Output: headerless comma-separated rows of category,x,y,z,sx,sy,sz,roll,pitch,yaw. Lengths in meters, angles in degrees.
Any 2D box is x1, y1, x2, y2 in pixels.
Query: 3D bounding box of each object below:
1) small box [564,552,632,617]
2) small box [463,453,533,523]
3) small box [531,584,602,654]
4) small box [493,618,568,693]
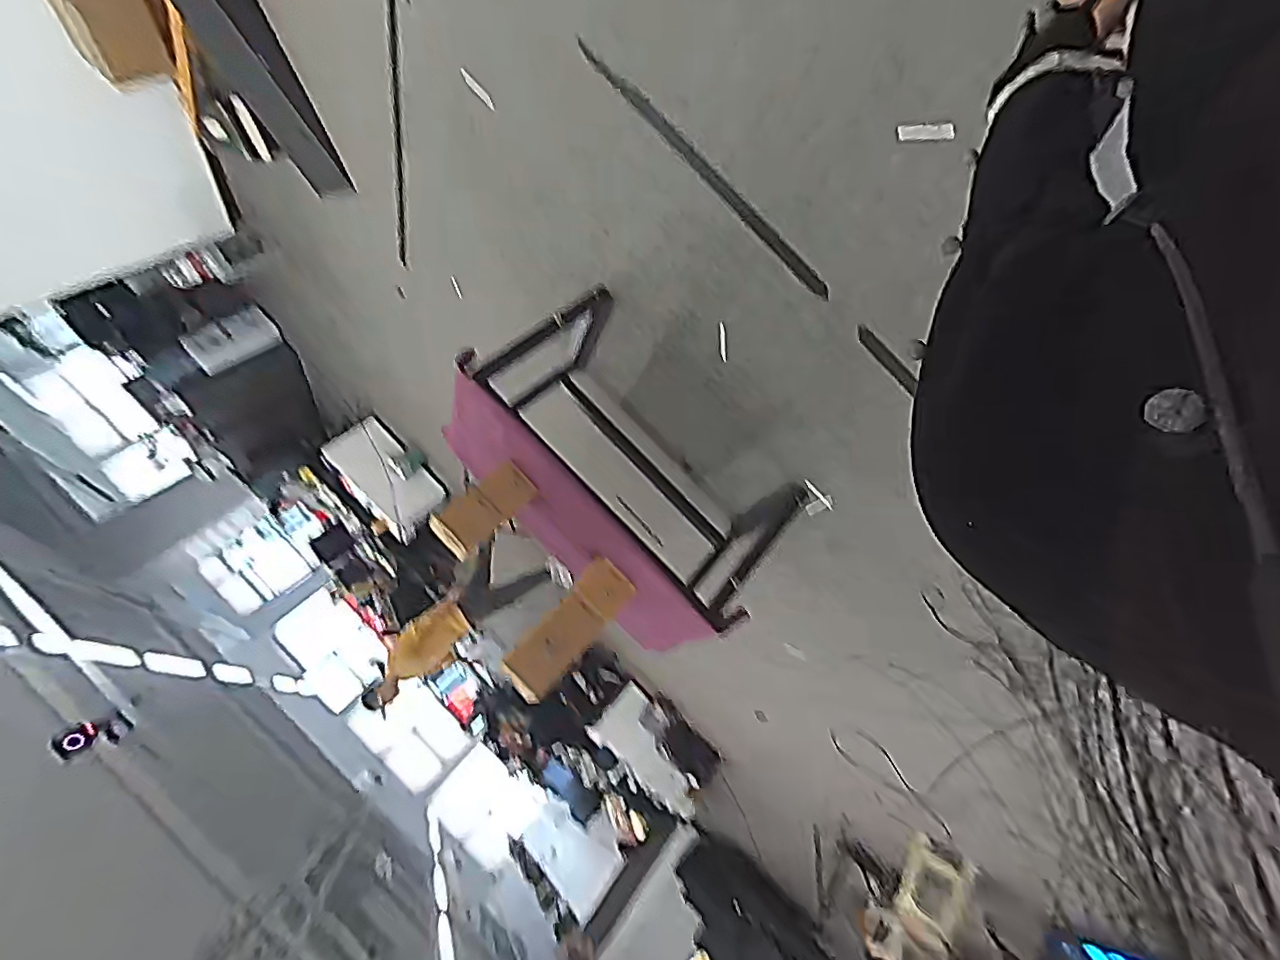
small box,-0.154,0.382,1.954,0.168,0.176,0.179,46,151,-1
small box,-0.513,0.029,1.963,0.168,0.176,0.179,48,150,-6
small box,-0.257,0.484,1.878,0.168,0.176,0.179,45,151,-1
small box,-0.362,0.581,1.794,0.168,0.176,0.179,46,150,-1
